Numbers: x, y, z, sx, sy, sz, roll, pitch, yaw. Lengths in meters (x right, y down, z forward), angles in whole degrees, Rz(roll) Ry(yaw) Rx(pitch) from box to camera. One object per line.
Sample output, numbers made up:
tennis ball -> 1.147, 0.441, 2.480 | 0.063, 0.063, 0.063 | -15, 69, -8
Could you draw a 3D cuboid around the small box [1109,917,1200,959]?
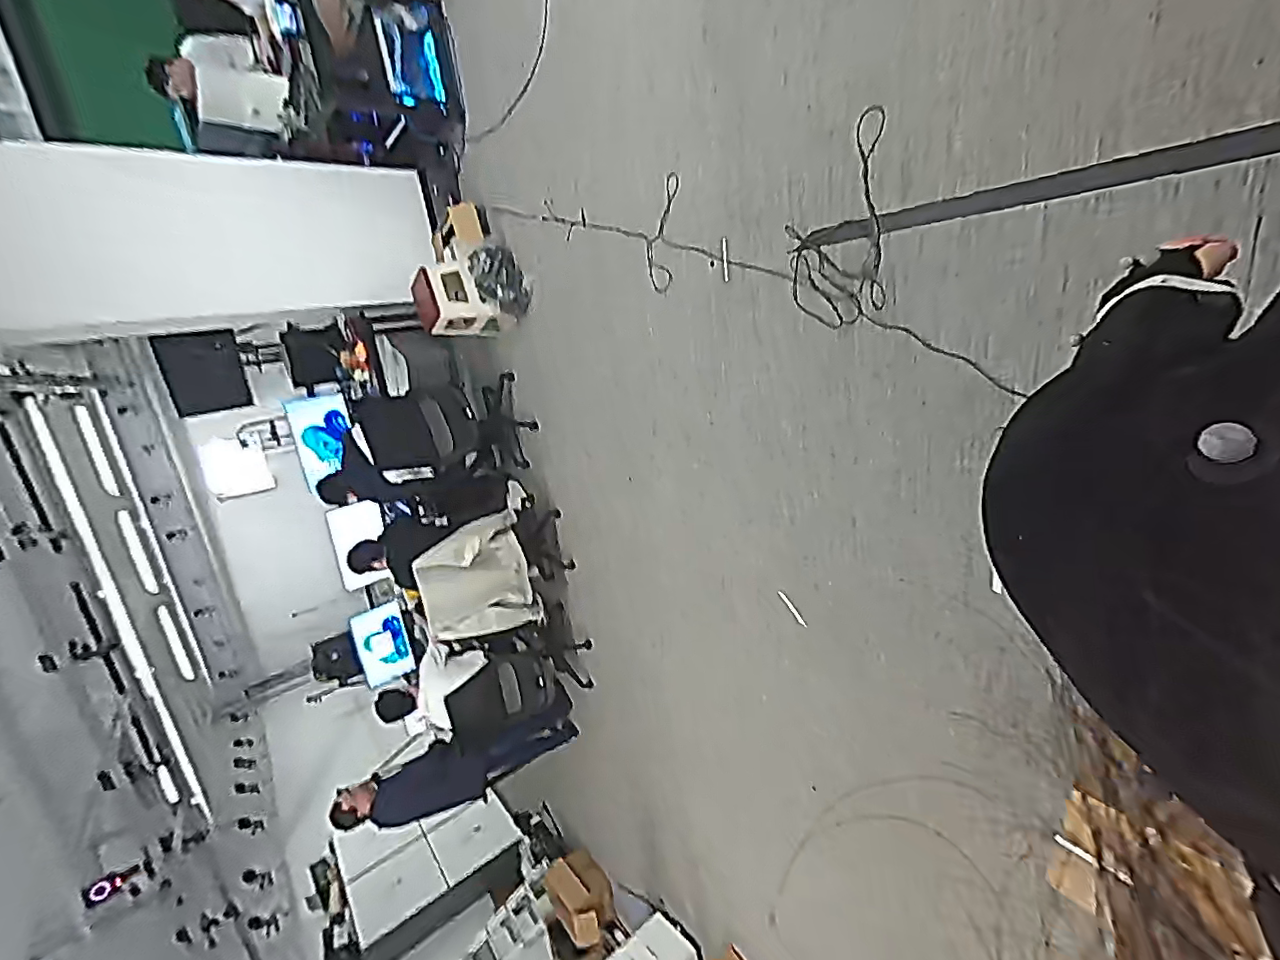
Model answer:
small box -> 0.891, 0.907, 0.912 | 0.168, 0.176, 0.179 | 20, 120, 49
